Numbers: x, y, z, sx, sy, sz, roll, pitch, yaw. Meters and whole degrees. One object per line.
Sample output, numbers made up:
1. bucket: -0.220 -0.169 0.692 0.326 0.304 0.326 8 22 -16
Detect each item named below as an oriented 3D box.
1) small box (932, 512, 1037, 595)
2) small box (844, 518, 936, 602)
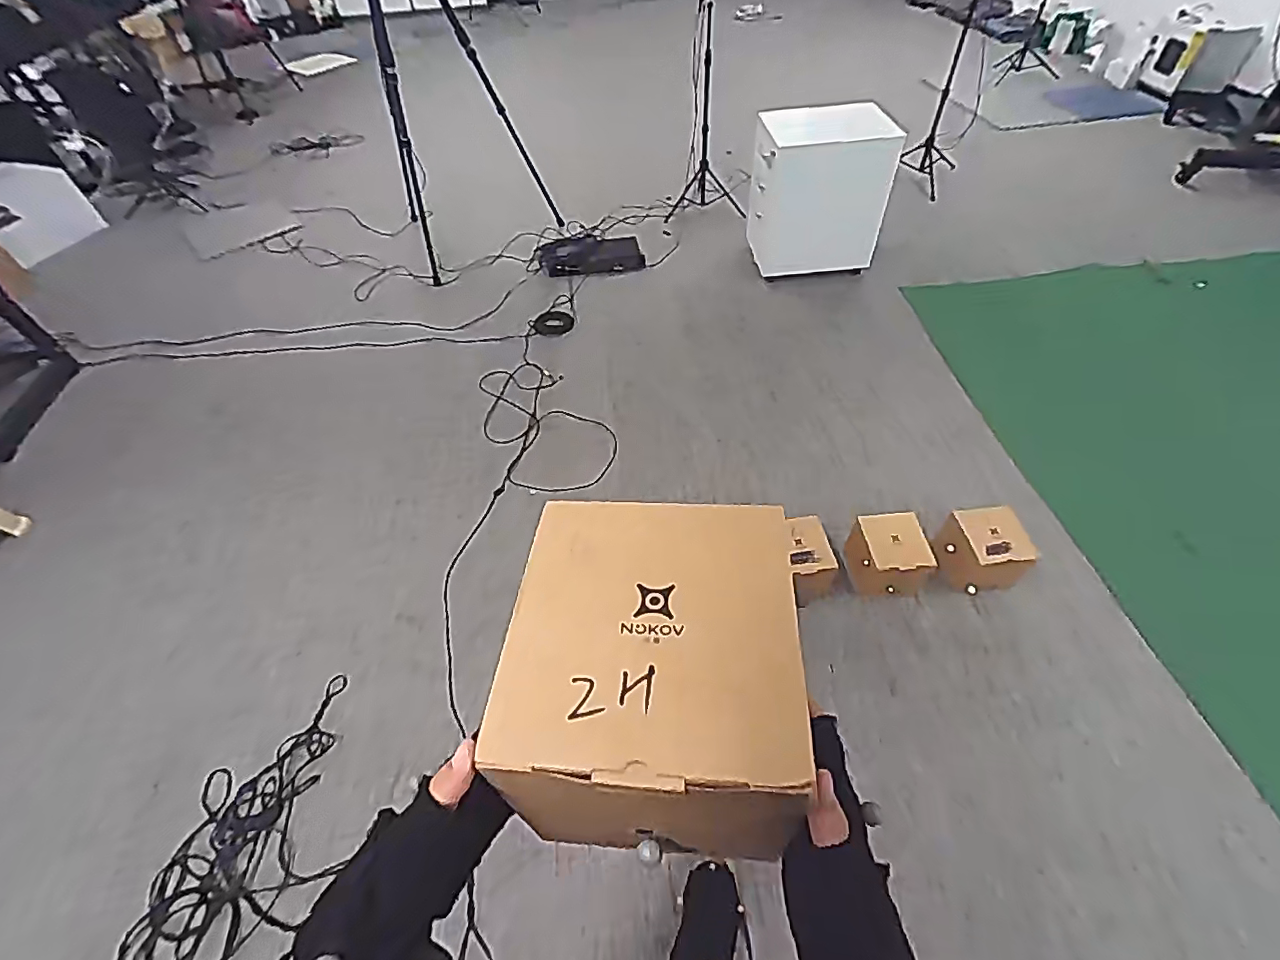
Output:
1. small box: 0.972 0.216 1.545 0.168 0.176 0.179 -5 50 -1
2. small box: 0.703 0.230 1.549 0.168 0.176 0.179 -5 51 -1
